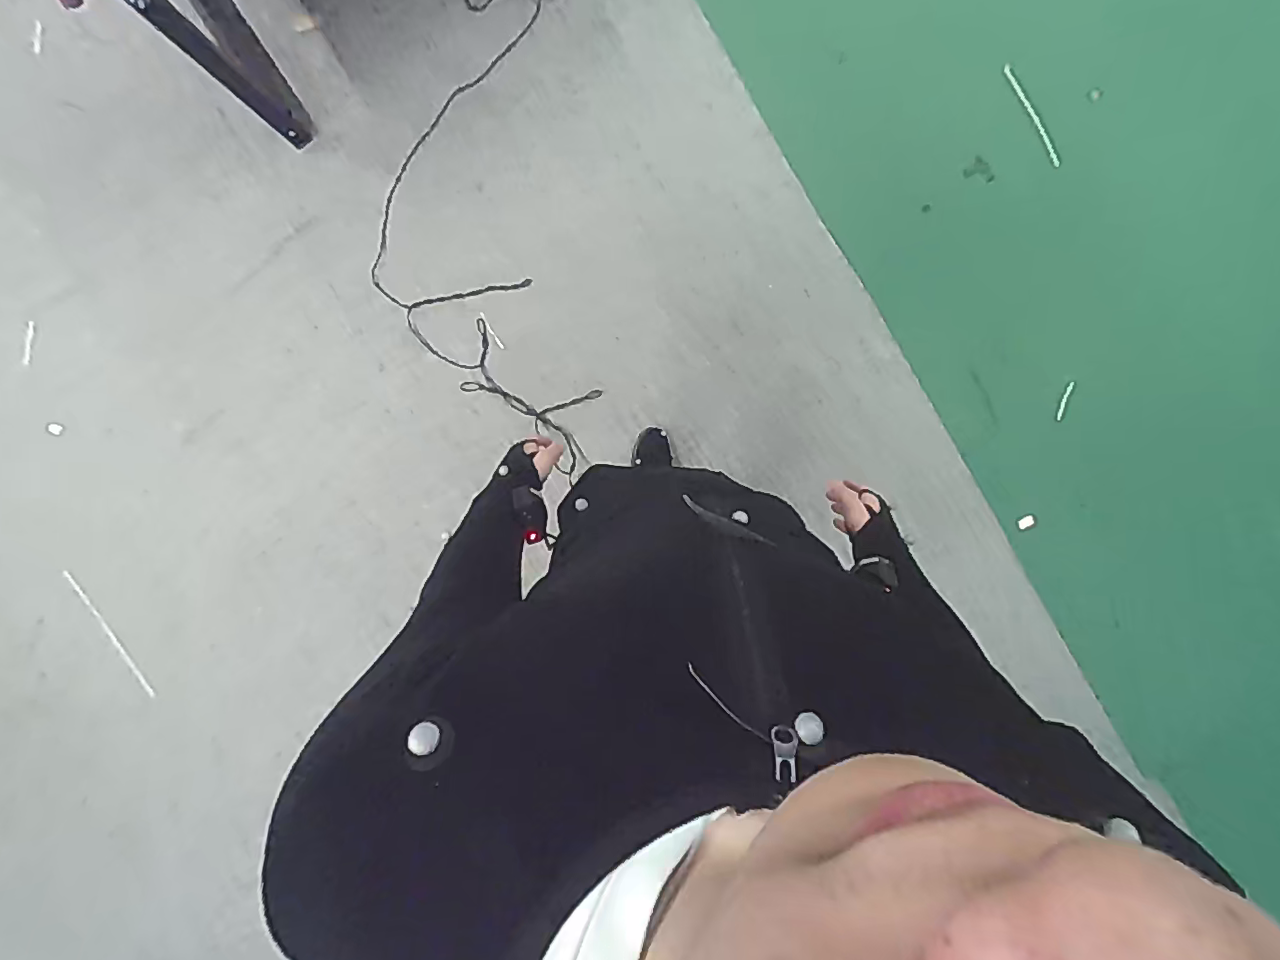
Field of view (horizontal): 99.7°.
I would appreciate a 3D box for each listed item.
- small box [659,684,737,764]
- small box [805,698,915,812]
[{"bbox_3d":[0.160,0.720,1.570,0.168,0.176,0.179,-26,94,3],"label":"small box"},{"bbox_3d":[0.557,0.696,1.397,0.168,0.176,0.179,-38,93,4],"label":"small box"}]
